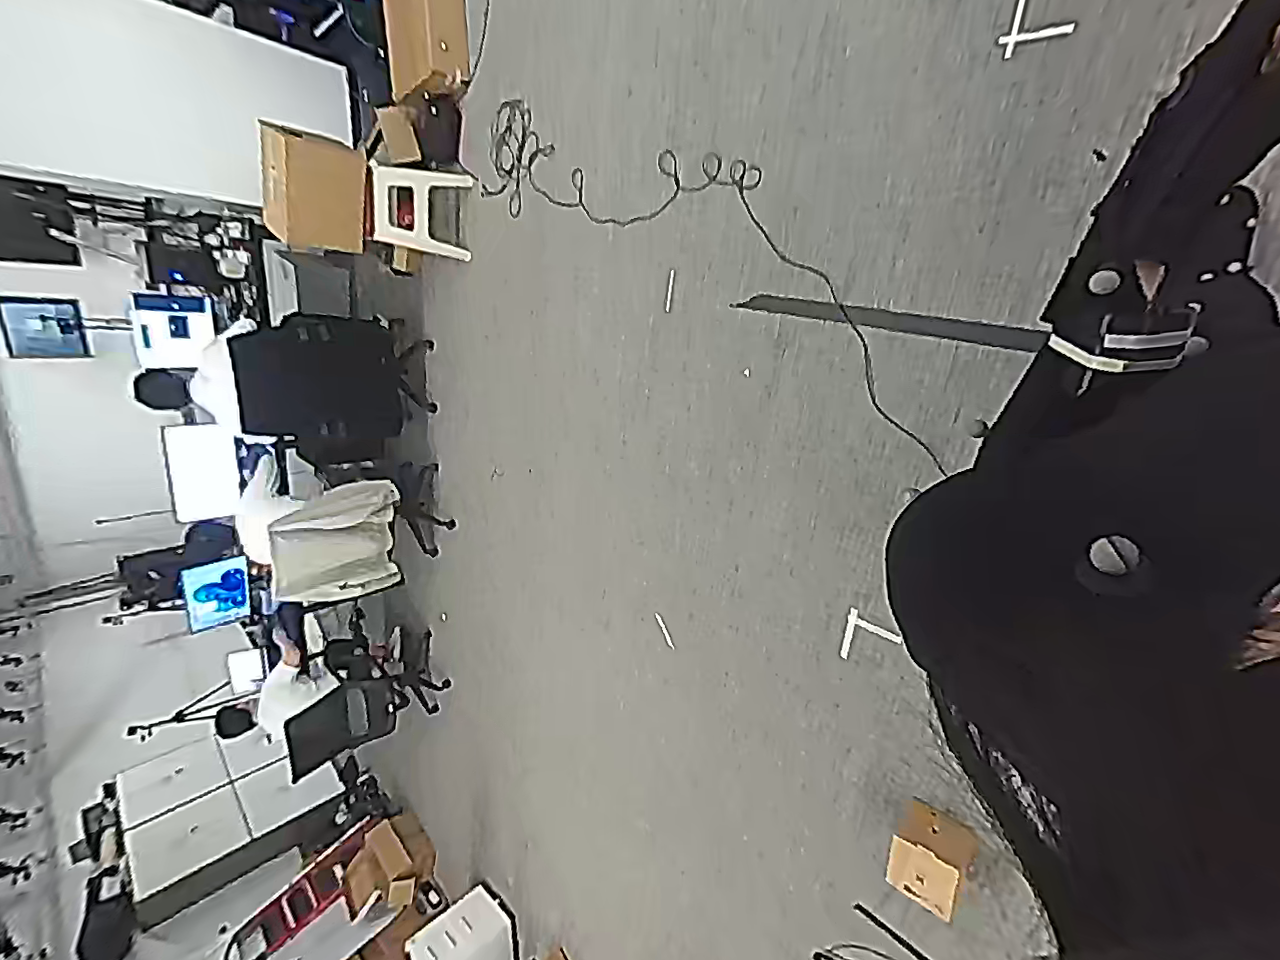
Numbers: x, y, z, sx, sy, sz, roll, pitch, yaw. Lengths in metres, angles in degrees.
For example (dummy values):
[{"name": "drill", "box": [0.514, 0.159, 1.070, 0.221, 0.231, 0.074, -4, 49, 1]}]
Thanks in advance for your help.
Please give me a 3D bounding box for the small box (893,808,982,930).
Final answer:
[{"name": "small box", "box": [0.824, 1.060, 1.493, 0.168, 0.176, 0.179, 15, 109, 42]}]
